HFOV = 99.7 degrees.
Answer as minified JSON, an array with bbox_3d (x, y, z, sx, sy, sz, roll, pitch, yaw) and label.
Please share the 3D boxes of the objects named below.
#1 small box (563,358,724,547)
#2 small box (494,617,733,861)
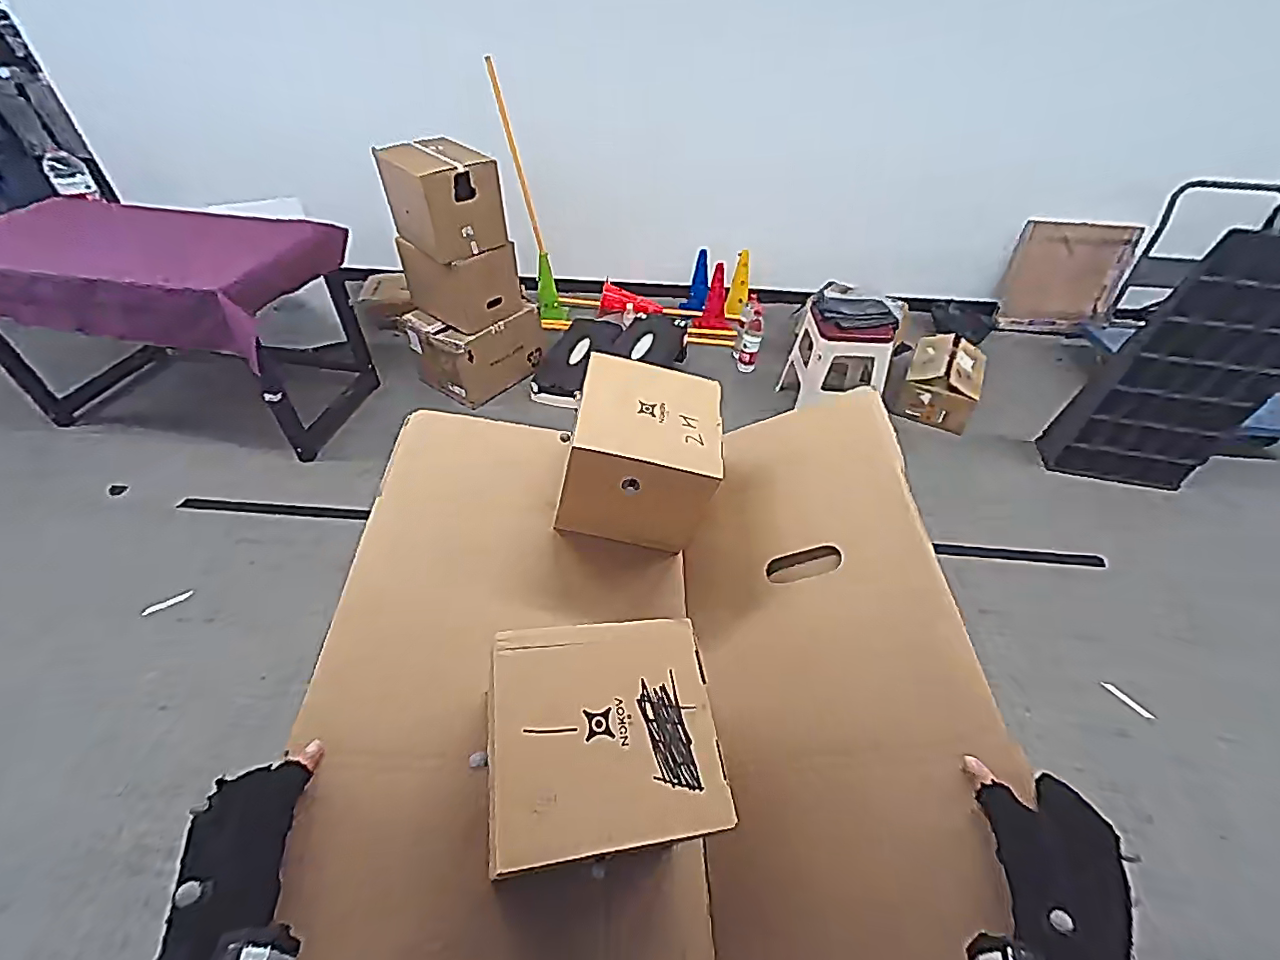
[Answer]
[{"bbox_3d":[0.002,-0.030,0.721,0.179,0.176,0.168,14,51,-8],"label":"small box"},{"bbox_3d":[-0.041,0.238,0.499,0.179,0.176,0.168,1,53,-16],"label":"small box"}]
